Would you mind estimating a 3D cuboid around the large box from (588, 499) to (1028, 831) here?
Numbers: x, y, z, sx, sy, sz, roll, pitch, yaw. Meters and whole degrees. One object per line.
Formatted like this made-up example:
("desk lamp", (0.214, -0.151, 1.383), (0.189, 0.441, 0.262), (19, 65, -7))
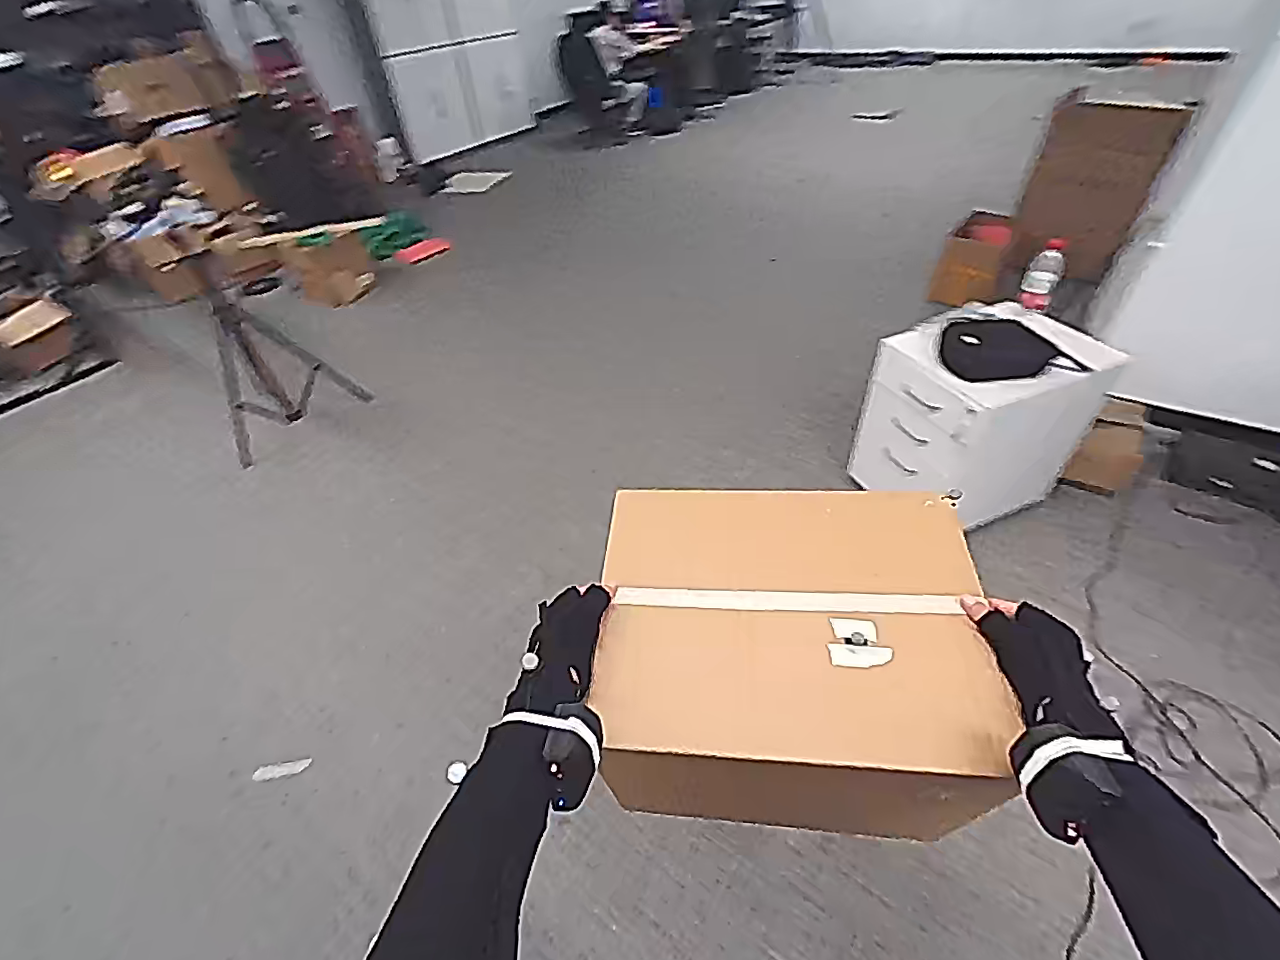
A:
("large box", (0.168, 0.241, 0.701), (0.408, 0.320, 0.320), (-1, 49, 7))
